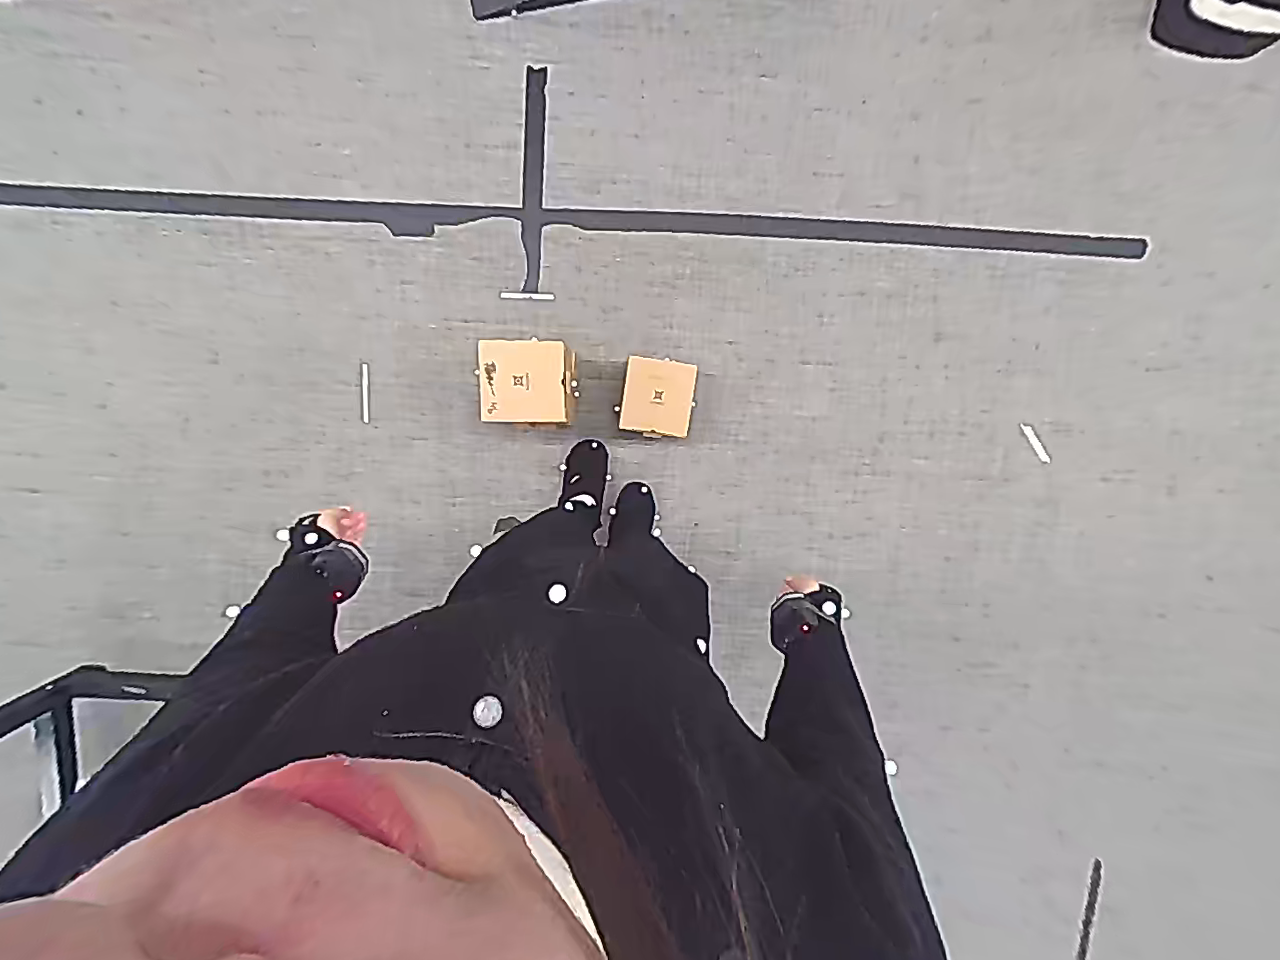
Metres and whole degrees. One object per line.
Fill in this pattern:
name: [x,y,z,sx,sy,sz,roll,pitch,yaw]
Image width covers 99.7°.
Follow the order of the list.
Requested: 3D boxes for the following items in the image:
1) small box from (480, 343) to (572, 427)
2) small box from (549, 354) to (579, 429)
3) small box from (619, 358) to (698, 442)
small box: [-0.238,-0.203,1.169,0.179,0.176,0.168,0,98,-3]
small box: [-0.241,-0.224,1.332,0.168,0.176,0.179,5,98,-3]
small box: [0.040,-0.199,1.349,0.168,0.176,0.179,8,98,-4]
